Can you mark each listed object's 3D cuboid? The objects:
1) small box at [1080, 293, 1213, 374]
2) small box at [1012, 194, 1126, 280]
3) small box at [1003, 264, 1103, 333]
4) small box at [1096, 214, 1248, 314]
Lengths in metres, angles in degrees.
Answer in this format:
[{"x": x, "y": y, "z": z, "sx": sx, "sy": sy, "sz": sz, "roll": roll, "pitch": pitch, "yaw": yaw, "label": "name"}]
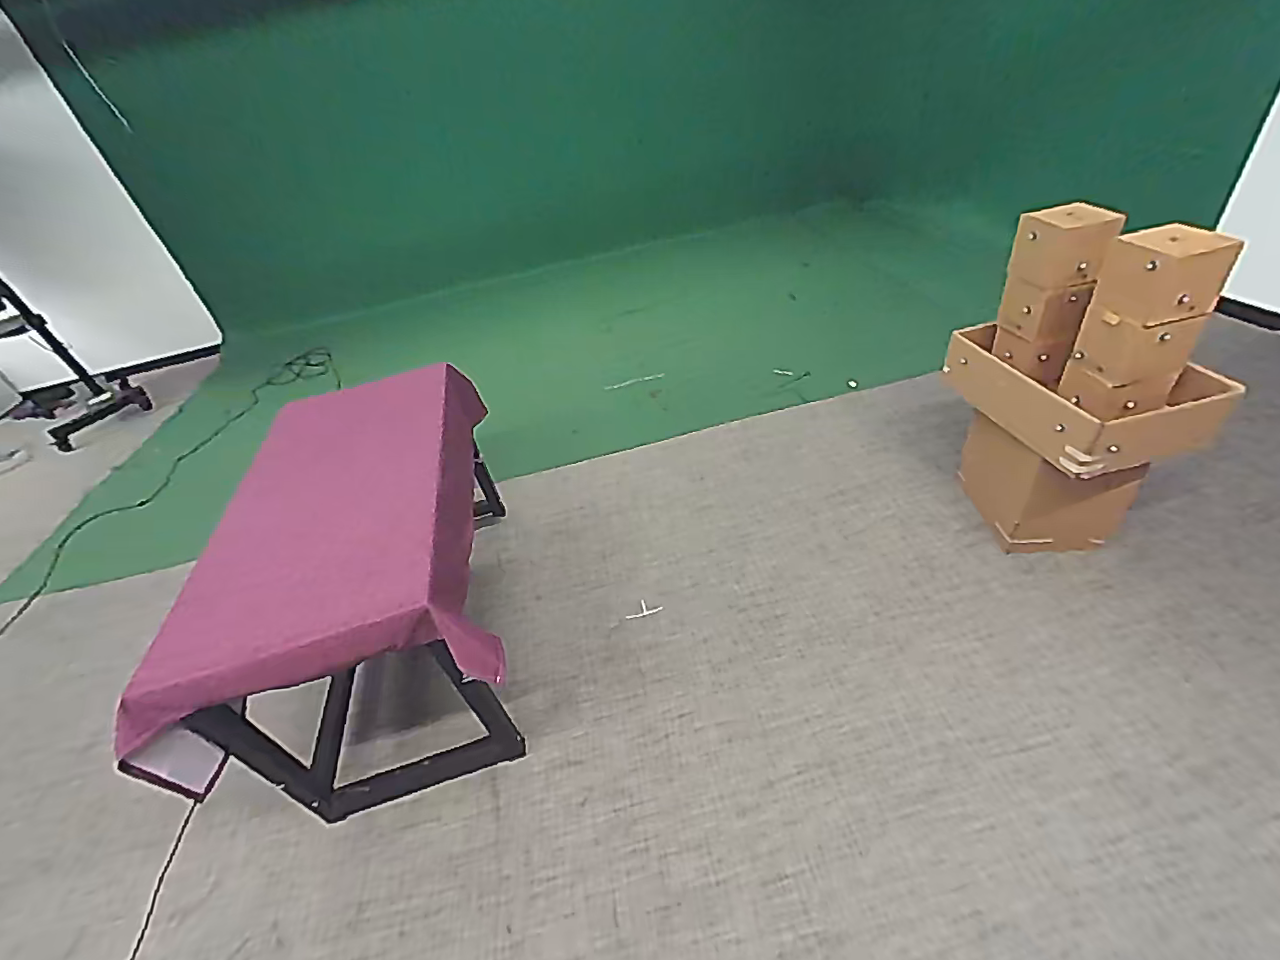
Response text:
[{"x": 1.292, "y": -0.393, "z": 1.400, "sx": 0.179, "sy": 0.176, "sz": 0.168, "roll": -12, "pitch": 38, "yaw": 1, "label": "small box"}, {"x": 1.194, "y": -0.684, "z": 1.523, "sx": 0.168, "sy": 0.176, "sz": 0.179, "roll": -13, "pitch": 39, "yaw": 3, "label": "small box"}, {"x": 1.232, "y": -0.560, "z": 1.625, "sx": 0.179, "sy": 0.176, "sz": 0.168, "roll": -14, "pitch": 39, "yaw": -1, "label": "small box"}, {"x": 1.262, "y": -0.520, "z": 1.303, "sx": 0.168, "sy": 0.176, "sz": 0.179, "roll": -13, "pitch": 39, "yaw": 1, "label": "small box"}]
